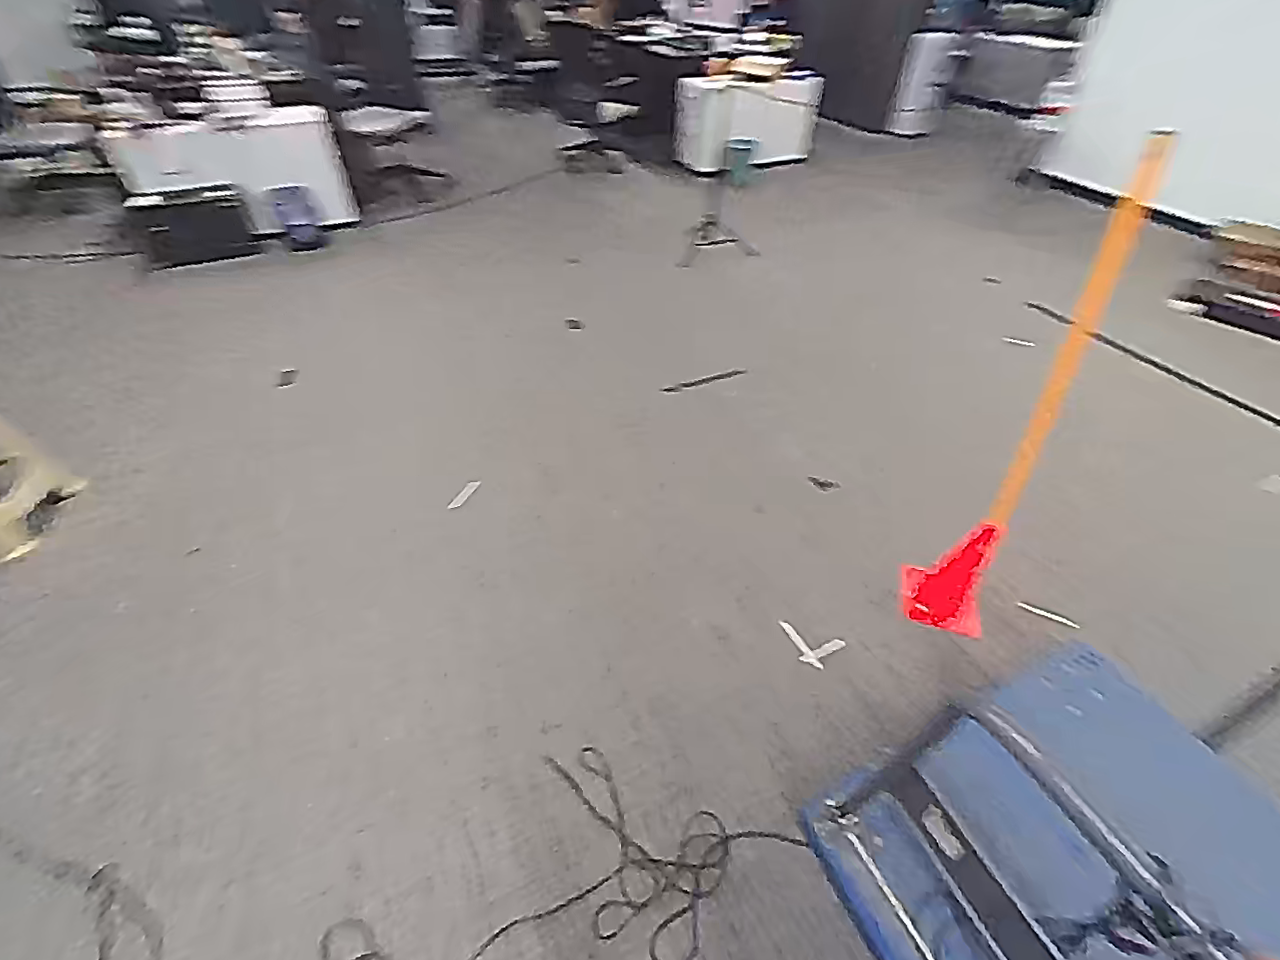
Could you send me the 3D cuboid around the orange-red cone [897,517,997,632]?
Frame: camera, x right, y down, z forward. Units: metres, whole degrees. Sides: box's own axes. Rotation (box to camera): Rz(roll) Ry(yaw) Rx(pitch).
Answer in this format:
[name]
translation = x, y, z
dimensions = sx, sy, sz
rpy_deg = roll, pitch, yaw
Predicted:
[orange-red cone]
translation = 0.878, 0.228, 1.488
dimensions = 0.199, 0.360, 0.198
rpy_deg = 15, 48, 11
